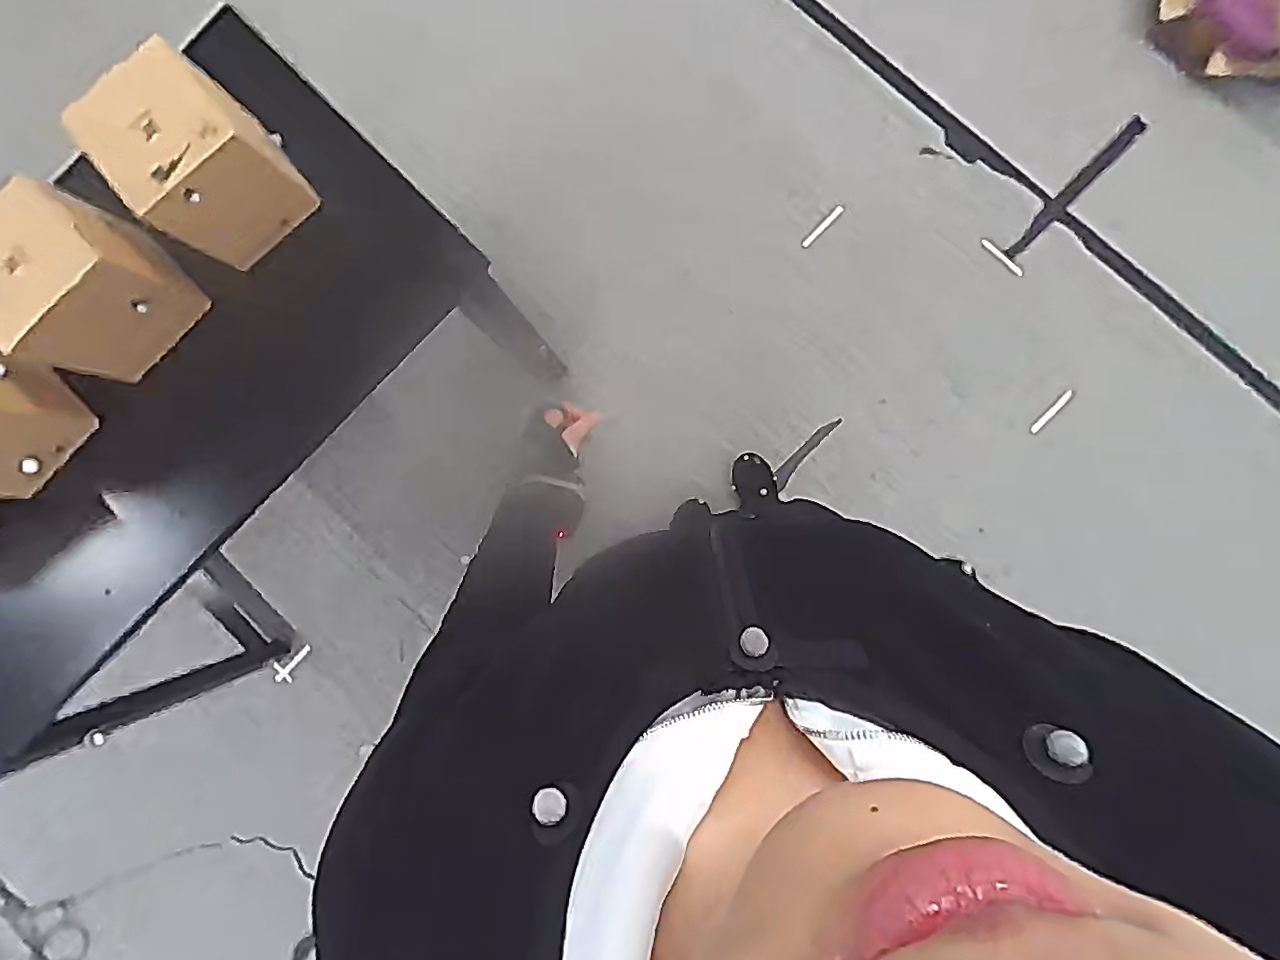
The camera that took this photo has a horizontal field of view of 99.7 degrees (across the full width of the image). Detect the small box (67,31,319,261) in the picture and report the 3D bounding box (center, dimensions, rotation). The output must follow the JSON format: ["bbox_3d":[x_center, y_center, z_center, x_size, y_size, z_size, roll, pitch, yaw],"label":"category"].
[{"bbox_3d":[-0.607,-0.448,0.756,0.168,0.176,0.179,-39,86,2],"label":"small box"}]

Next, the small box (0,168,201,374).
[{"bbox_3d":[-0.779,-0.279,0.762,0.179,0.176,0.168,-45,85,2],"label":"small box"}]

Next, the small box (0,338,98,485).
[{"bbox_3d":[-0.954,-0.103,0.763,0.179,0.176,0.168,45,91,3],"label":"small box"}]
